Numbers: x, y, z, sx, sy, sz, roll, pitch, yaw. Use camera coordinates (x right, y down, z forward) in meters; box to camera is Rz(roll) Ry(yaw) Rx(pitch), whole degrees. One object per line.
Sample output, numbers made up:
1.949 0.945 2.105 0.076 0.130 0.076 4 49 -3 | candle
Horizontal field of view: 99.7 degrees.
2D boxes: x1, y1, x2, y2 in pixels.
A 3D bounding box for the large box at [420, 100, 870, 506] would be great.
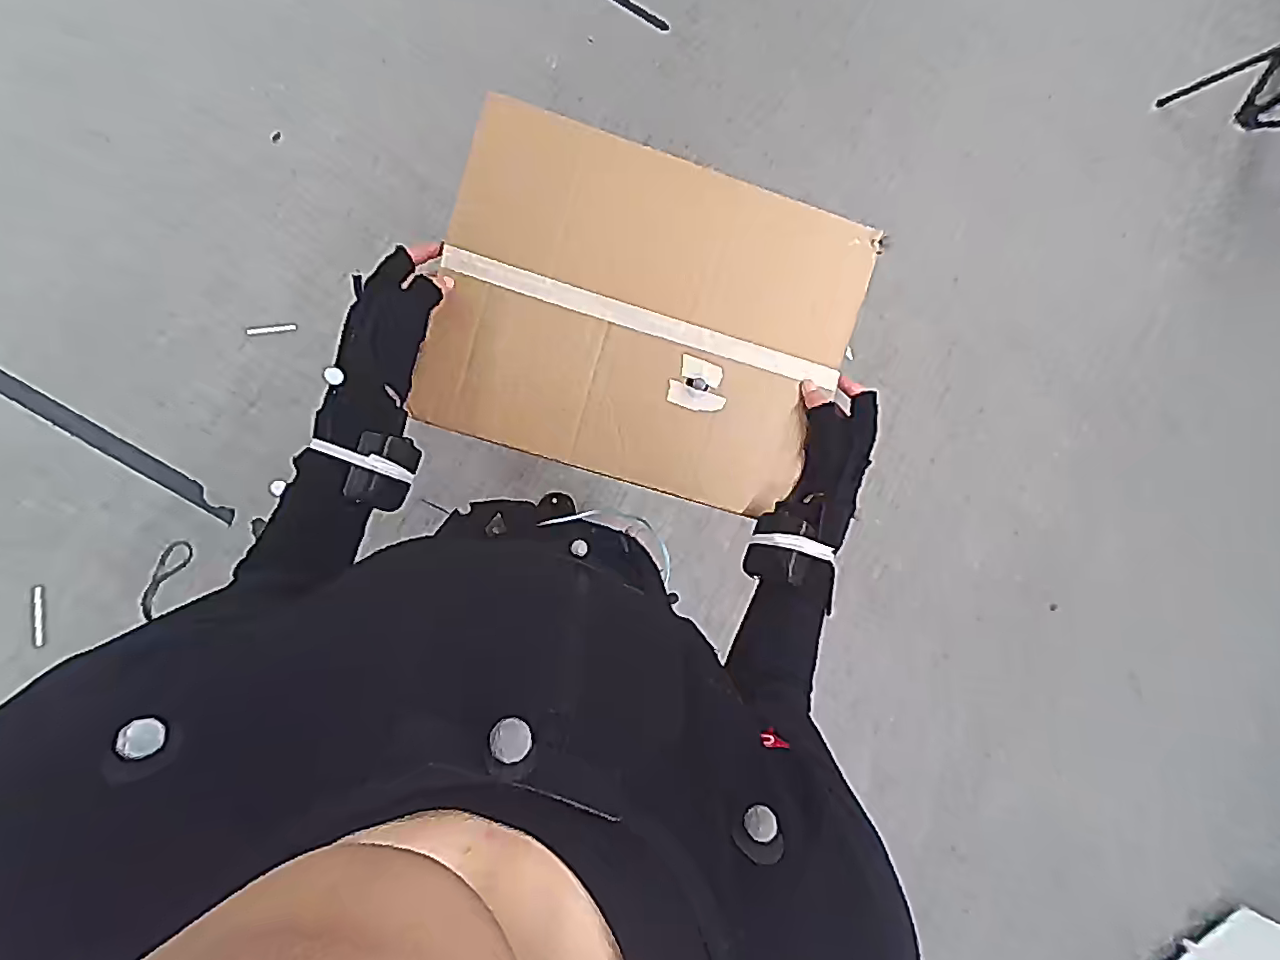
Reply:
-0.006 -0.183 0.695 0.408 0.320 0.320 16 95 -7 | large box
